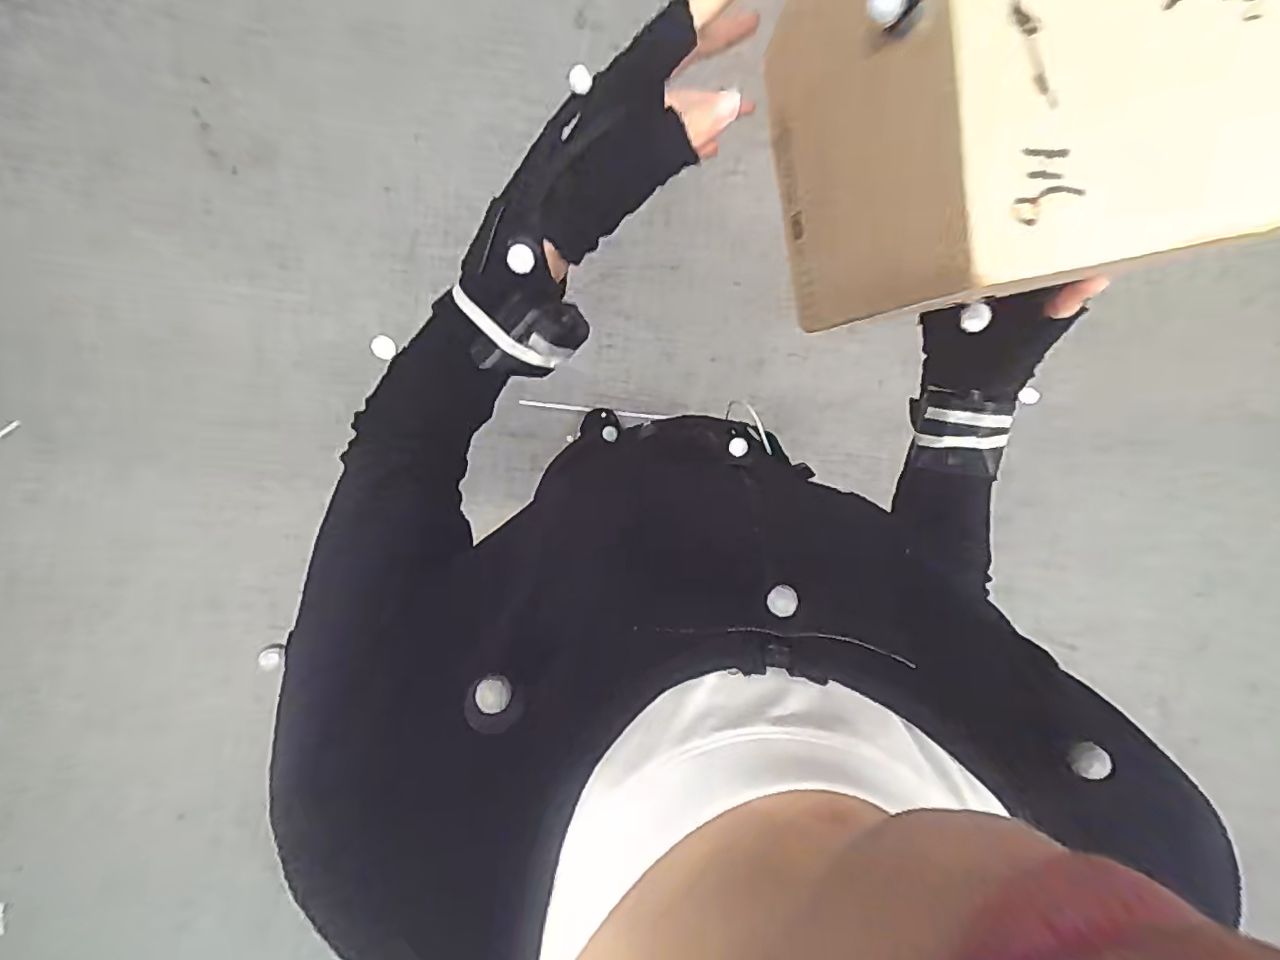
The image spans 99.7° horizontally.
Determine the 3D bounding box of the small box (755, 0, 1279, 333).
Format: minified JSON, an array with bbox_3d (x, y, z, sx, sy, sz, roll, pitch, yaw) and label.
[{"bbox_3d":[0.171,-0.172,0.250,0.179,0.176,0.168,-12,99,-2],"label":"small box"}]
